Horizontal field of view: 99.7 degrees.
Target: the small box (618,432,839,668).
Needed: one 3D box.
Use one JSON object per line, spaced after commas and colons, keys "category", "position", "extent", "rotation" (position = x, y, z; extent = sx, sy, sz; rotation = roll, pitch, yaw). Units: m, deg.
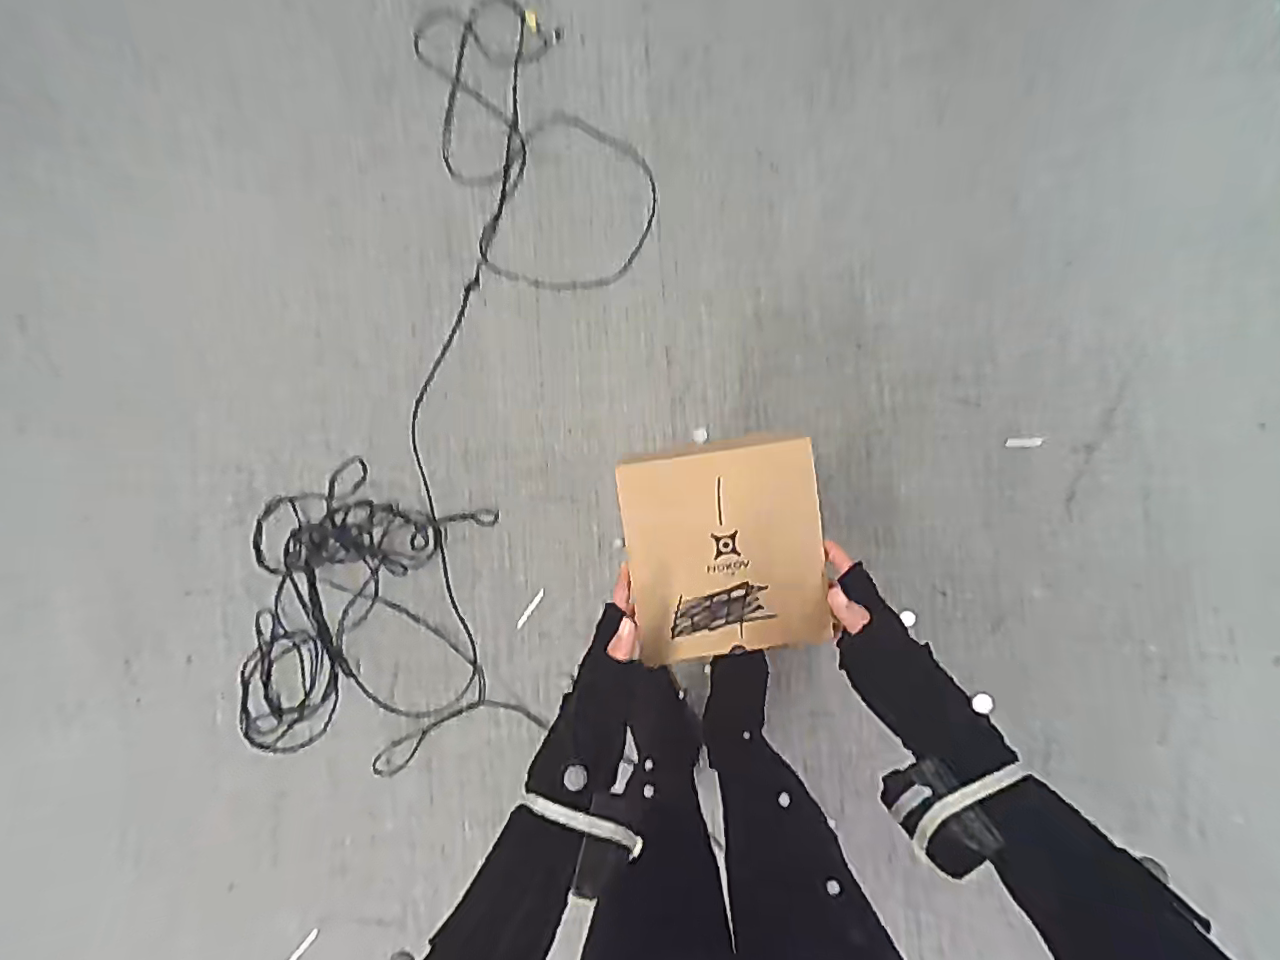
{"category": "small box", "position": [0.073, 0.052, 0.517], "extent": [0.168, 0.176, 0.179], "rotation": [-8, 96, 0]}
